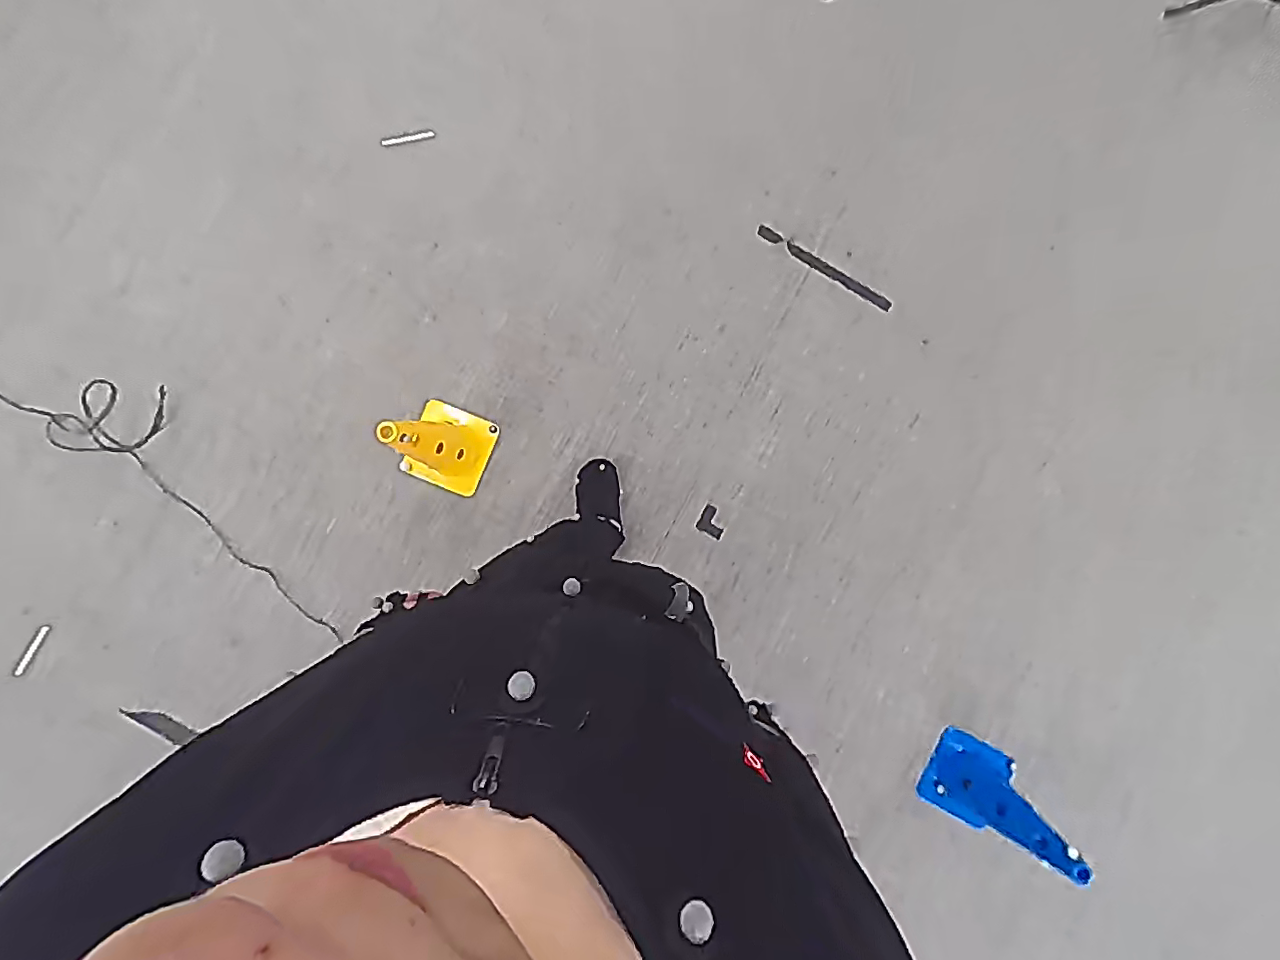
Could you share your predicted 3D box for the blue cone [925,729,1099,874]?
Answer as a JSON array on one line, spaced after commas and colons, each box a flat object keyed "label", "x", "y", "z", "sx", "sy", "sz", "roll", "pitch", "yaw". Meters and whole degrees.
[{"label": "blue cone", "x": 0.825, "y": 0.732, "z": 1.186, "sx": 0.193, "sy": 0.380, "sz": 0.192, "roll": 30, "pitch": 87, "yaw": 0}]
